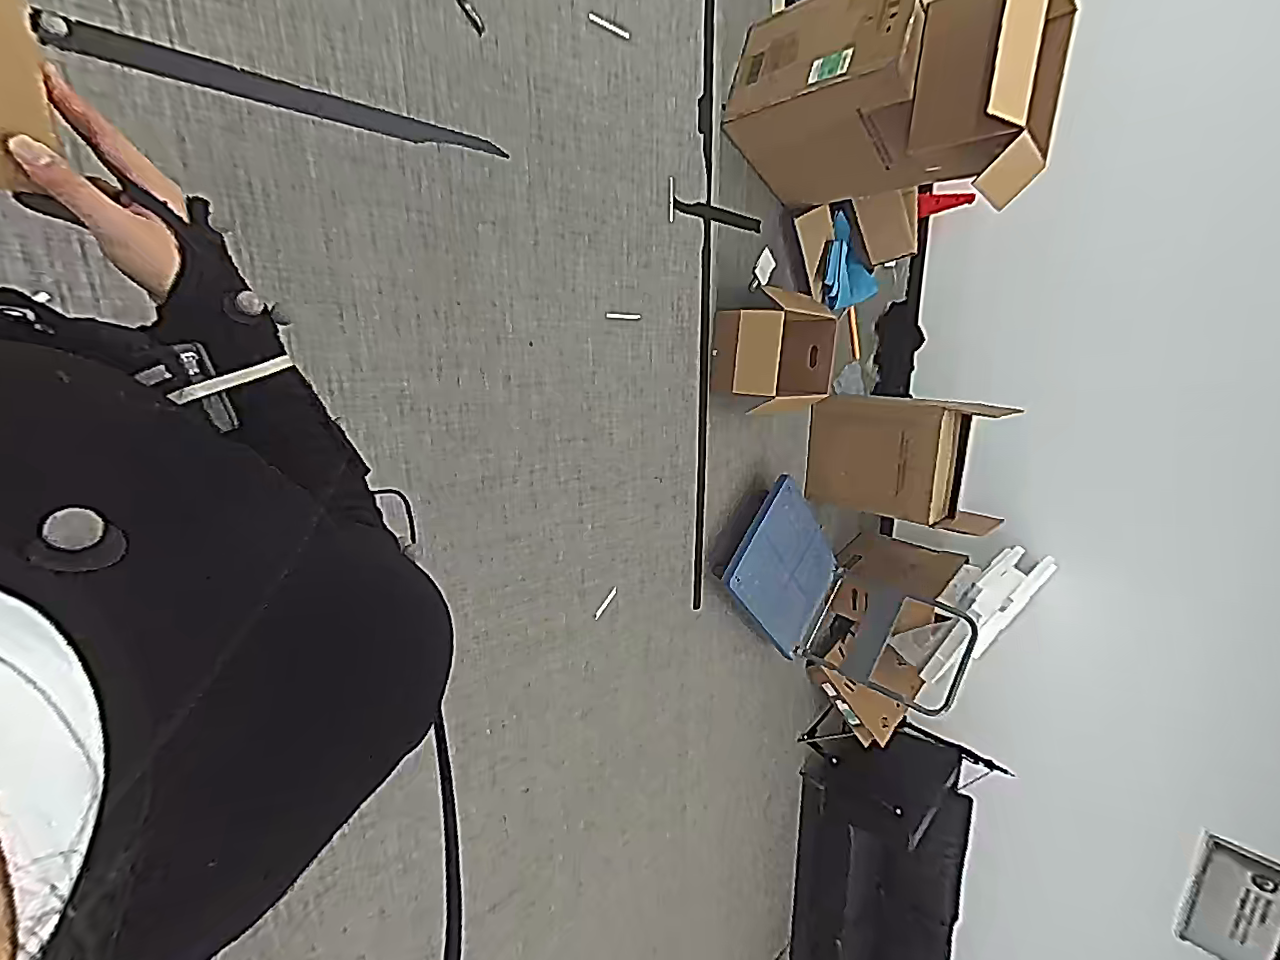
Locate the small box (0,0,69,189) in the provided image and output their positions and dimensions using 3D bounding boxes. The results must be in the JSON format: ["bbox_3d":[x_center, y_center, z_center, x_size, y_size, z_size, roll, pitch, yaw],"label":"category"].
[{"bbox_3d":[-0.421,-0.265,0.257,0.179,0.176,0.168,-13,134,-41],"label":"small box"}]
